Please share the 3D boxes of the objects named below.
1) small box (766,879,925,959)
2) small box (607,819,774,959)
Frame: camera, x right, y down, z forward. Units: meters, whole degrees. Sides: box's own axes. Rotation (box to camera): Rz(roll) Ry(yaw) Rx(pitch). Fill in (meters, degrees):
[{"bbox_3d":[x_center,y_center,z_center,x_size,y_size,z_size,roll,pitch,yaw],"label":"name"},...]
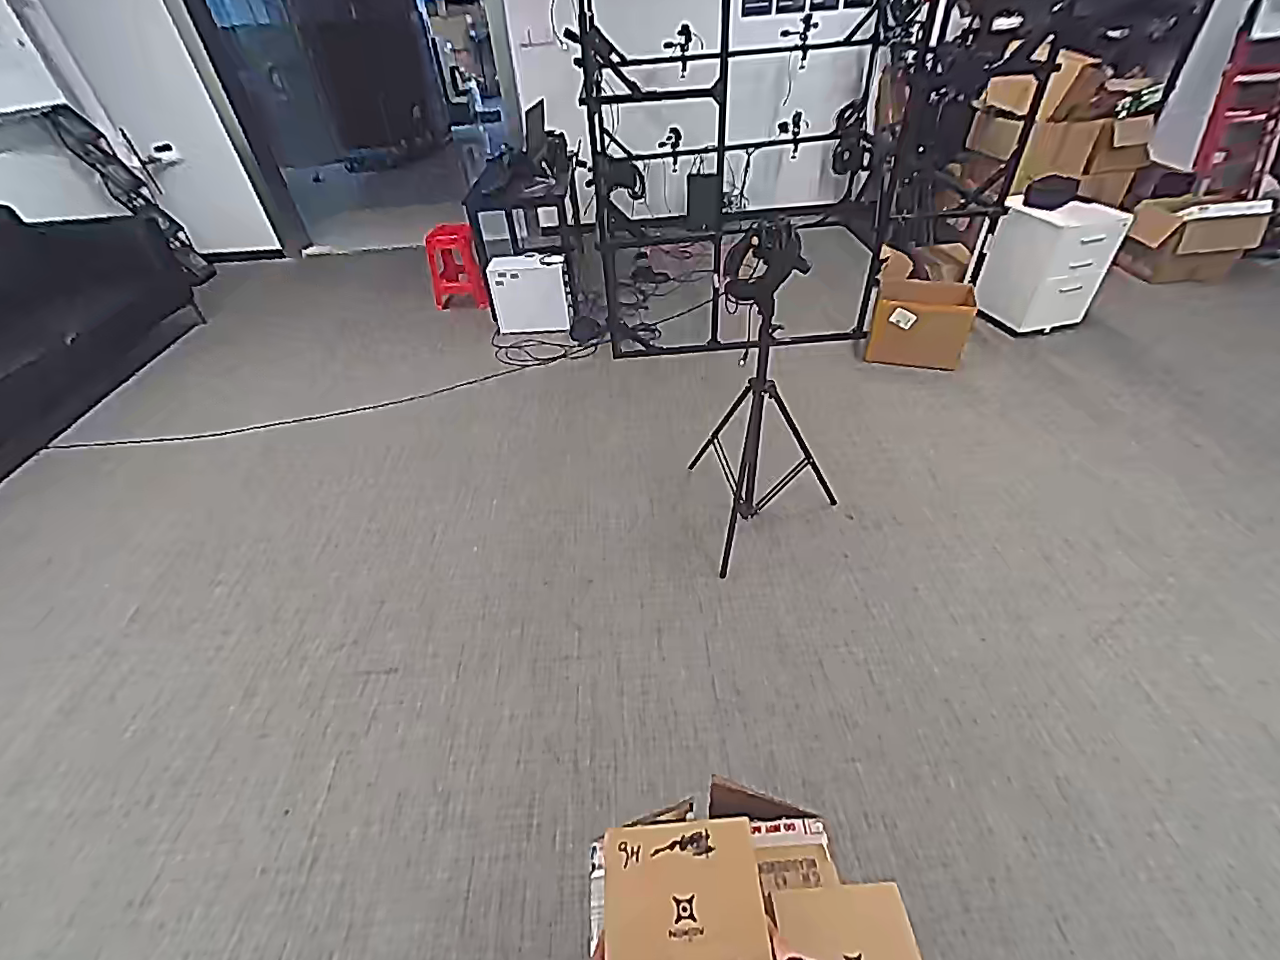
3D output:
[{"bbox_3d":[0.258,0.636,0.686,0.168,0.176,0.179,-4,43,-1],"label":"small box"},{"bbox_3d":[0.055,0.504,0.603,0.168,0.176,0.179,-6,45,1],"label":"small box"}]
